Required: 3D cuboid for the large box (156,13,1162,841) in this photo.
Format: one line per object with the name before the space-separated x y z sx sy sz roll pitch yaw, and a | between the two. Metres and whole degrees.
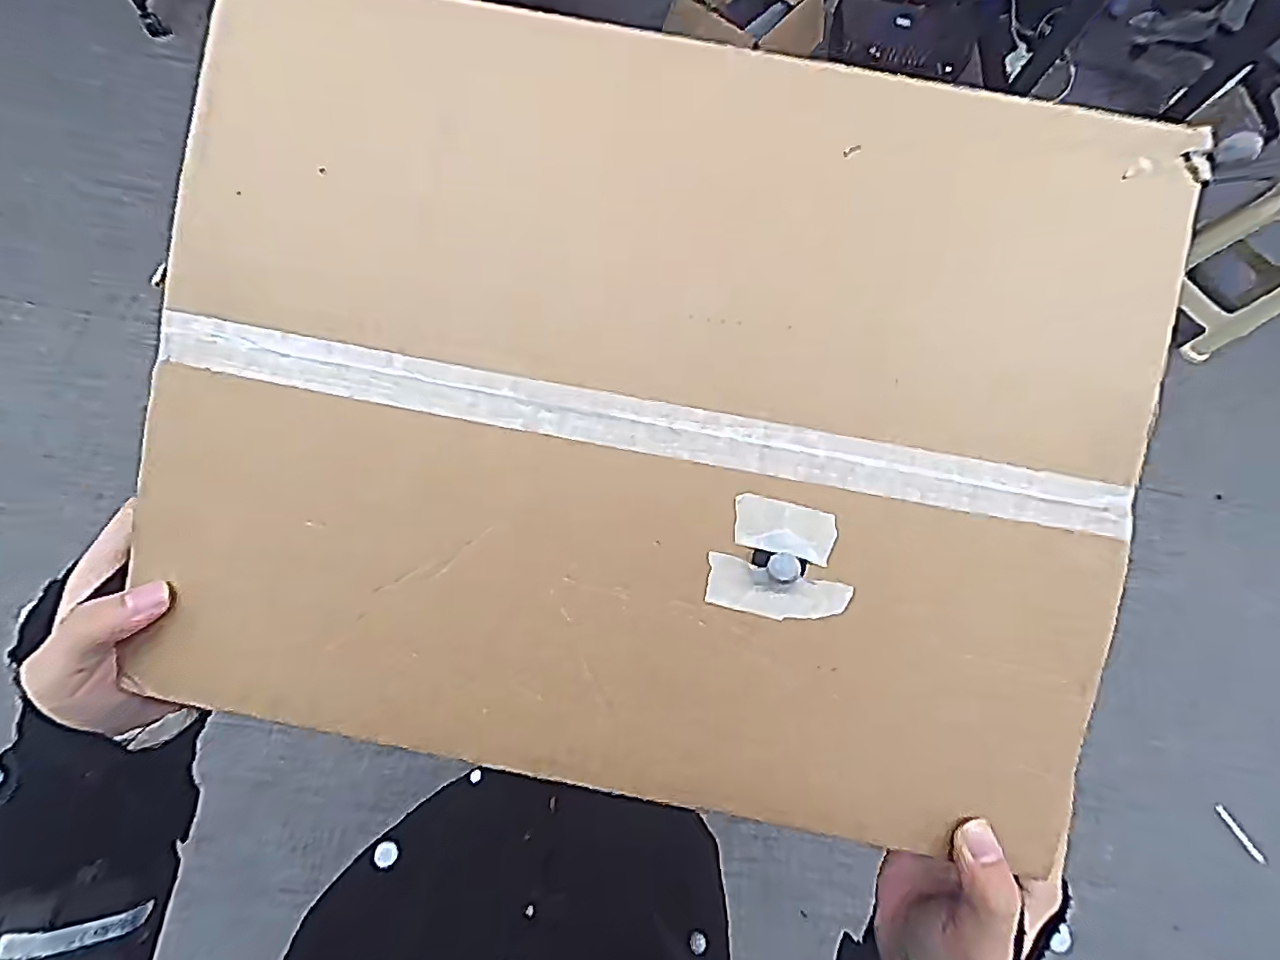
large box | 0.004 -0.025 0.385 0.408 0.320 0.320 11 92 0
